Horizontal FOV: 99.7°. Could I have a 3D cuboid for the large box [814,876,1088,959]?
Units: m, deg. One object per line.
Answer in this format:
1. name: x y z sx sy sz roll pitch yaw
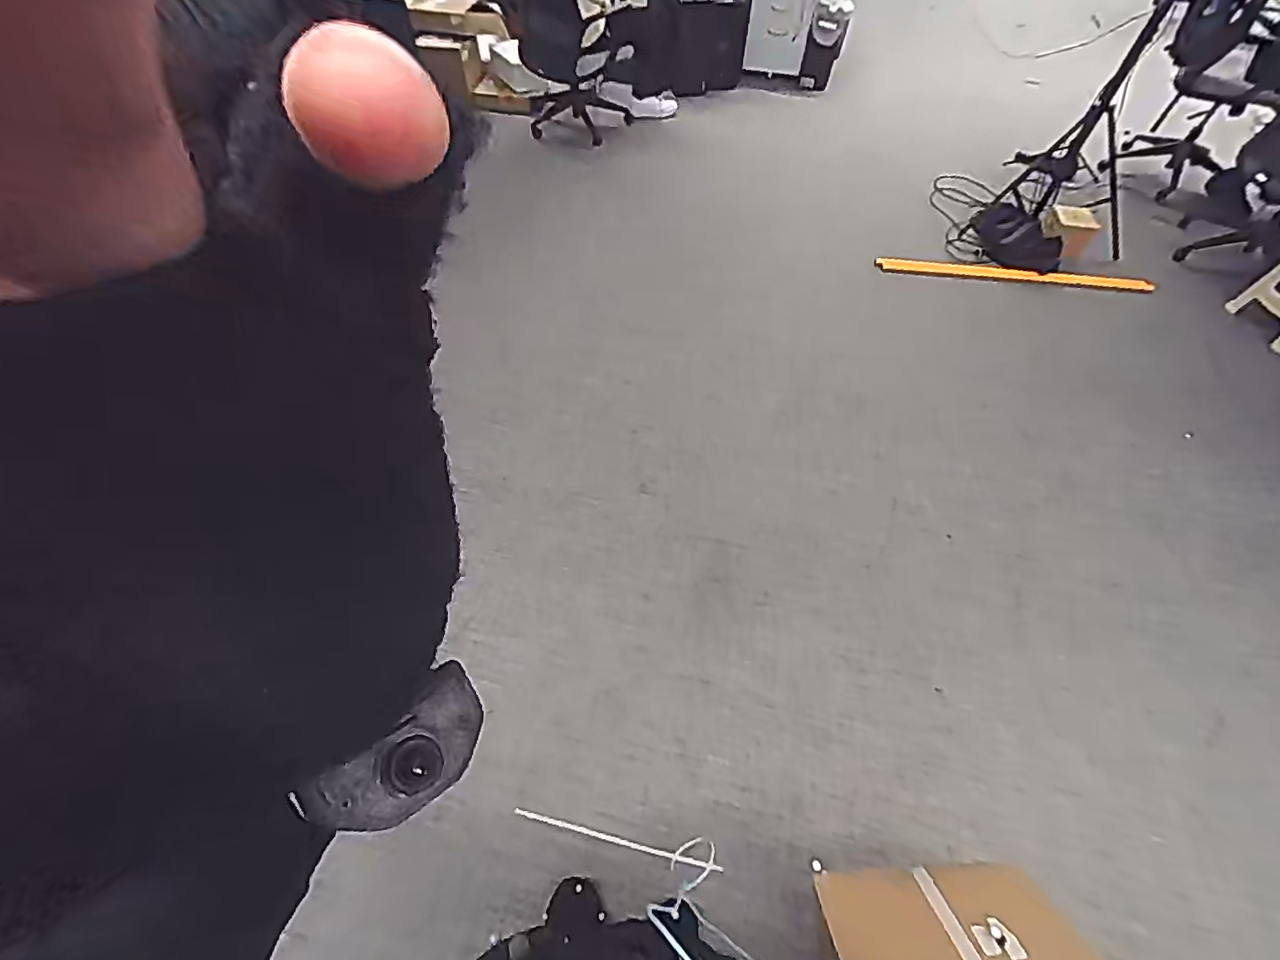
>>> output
1. large box: 0.422 0.763 0.626 0.320 0.408 0.320 -5 90 4
